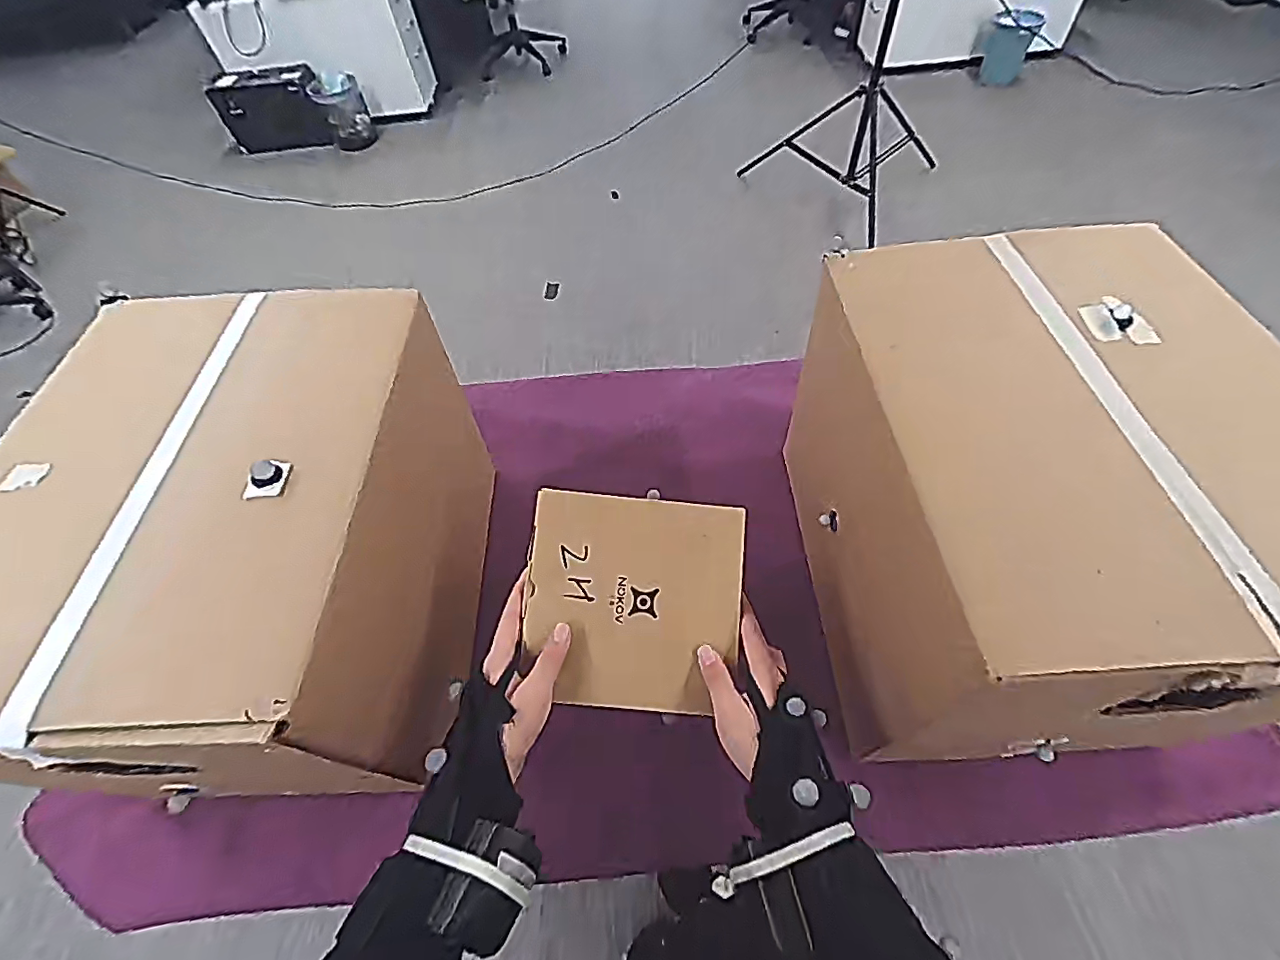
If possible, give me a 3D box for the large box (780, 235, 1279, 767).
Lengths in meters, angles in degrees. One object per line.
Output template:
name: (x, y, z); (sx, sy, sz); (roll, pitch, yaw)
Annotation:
large box: (0.344, 0.025, 0.529); (0.320, 0.320, 0.408); (-5, 54, 2)
